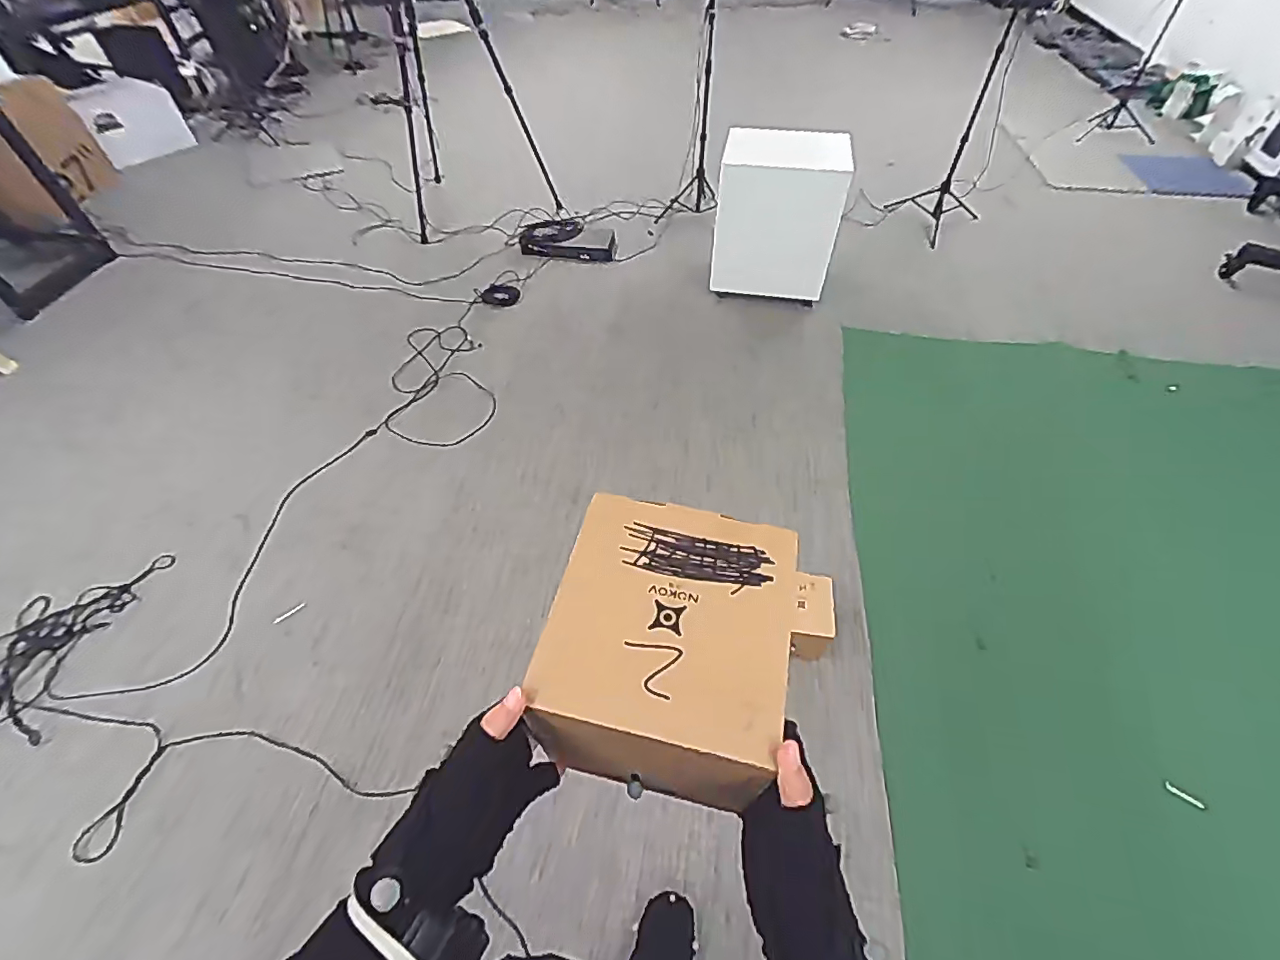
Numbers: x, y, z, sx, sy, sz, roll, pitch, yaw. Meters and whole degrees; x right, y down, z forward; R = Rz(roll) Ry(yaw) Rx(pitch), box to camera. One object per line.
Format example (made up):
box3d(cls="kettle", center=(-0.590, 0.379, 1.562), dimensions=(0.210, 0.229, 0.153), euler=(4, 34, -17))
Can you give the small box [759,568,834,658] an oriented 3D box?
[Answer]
box3d(cls="small box", center=(0.423, 0.367, 1.476), dimensions=(0.168, 0.176, 0.179), euler=(7, 52, 6))
